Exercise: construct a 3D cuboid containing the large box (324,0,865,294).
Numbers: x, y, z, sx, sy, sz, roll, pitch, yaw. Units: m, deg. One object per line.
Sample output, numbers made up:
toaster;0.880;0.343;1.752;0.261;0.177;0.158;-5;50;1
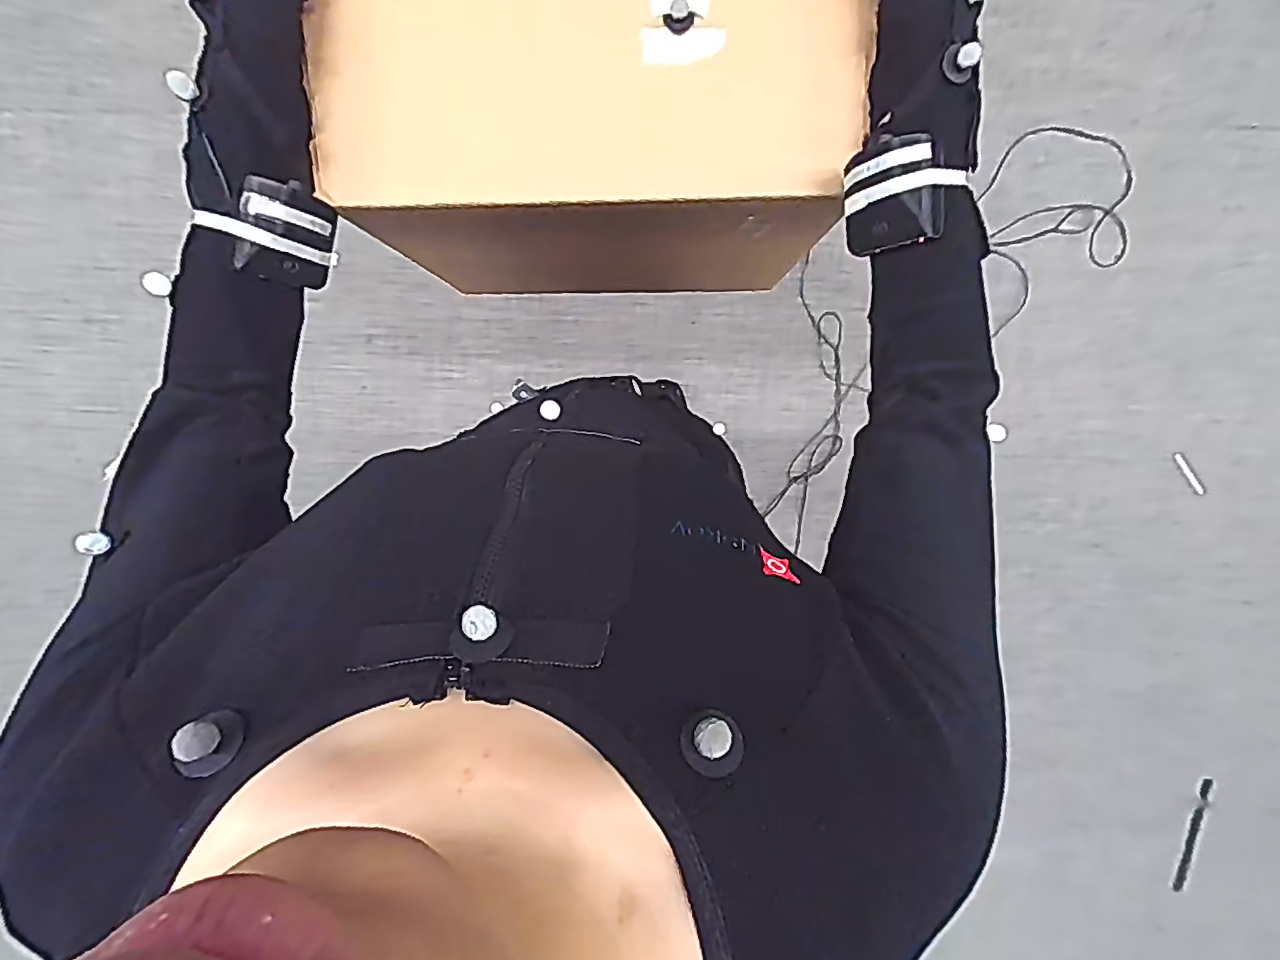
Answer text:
large box;-0.033;-0.384;0.541;0.408;0.320;0.320;-1;97;1
